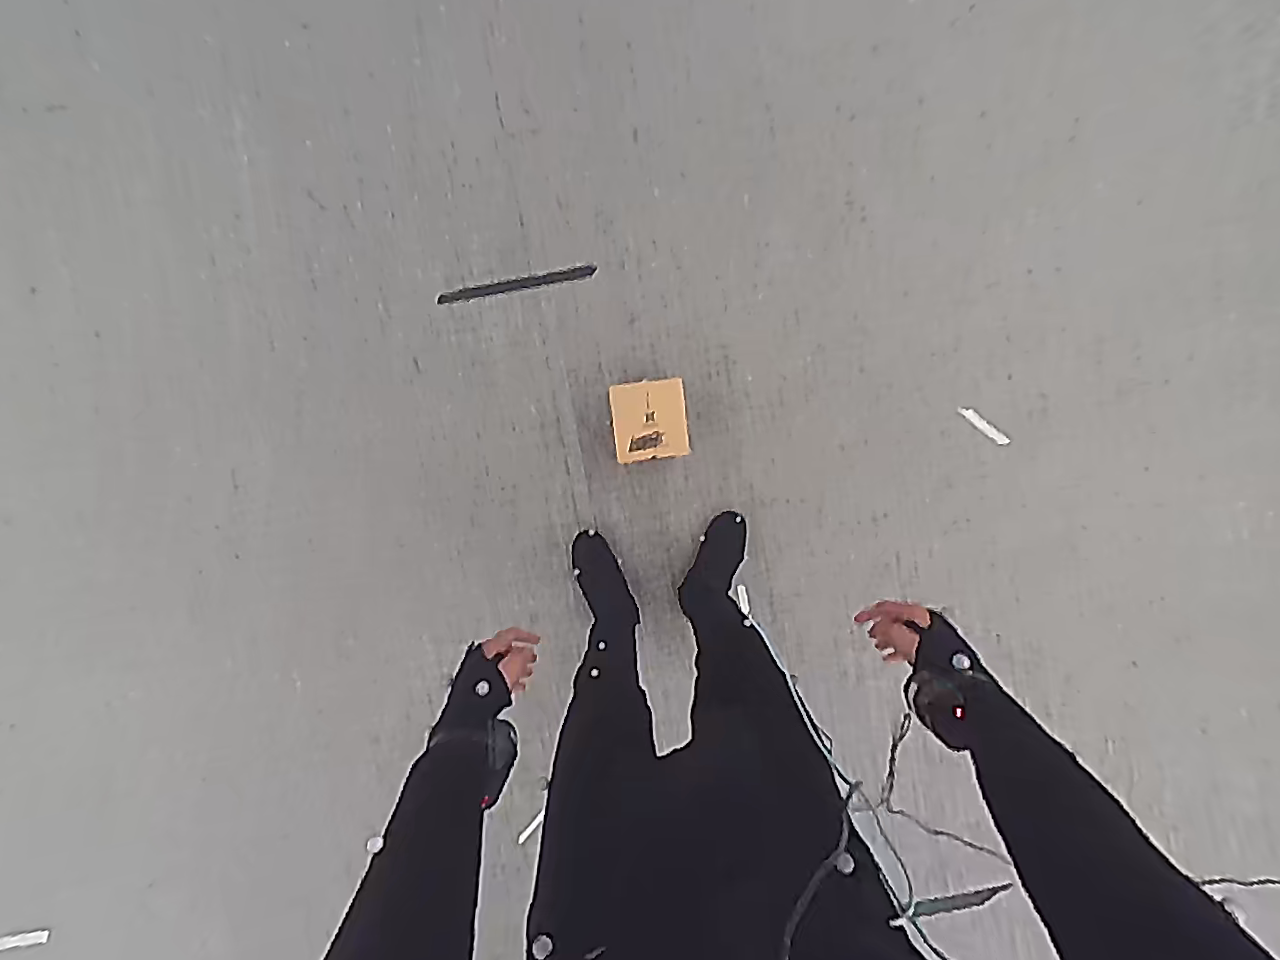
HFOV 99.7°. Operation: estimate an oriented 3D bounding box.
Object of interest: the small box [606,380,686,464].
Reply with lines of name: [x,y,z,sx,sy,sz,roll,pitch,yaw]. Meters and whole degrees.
small box: [0.012,-0.136,1.273,0.168,0.176,0.179,-7,95,-3]
